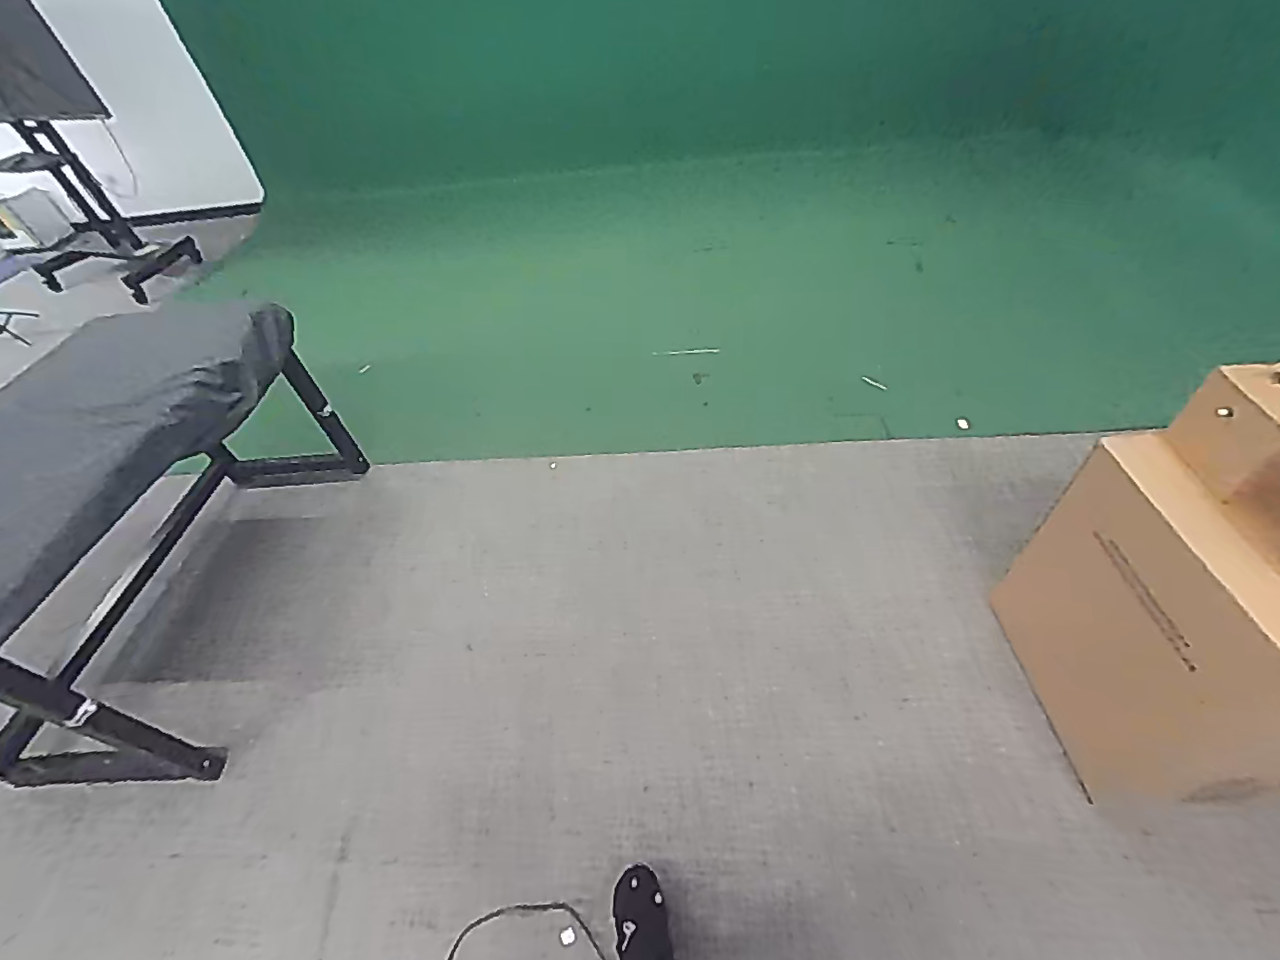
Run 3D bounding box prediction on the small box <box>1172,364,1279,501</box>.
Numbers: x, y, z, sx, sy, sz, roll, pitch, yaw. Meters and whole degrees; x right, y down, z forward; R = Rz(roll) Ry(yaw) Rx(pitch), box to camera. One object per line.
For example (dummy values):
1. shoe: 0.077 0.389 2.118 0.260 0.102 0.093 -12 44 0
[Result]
1. small box: 1.098 -0.084 0.937 0.168 0.176 0.179 -4 47 9
